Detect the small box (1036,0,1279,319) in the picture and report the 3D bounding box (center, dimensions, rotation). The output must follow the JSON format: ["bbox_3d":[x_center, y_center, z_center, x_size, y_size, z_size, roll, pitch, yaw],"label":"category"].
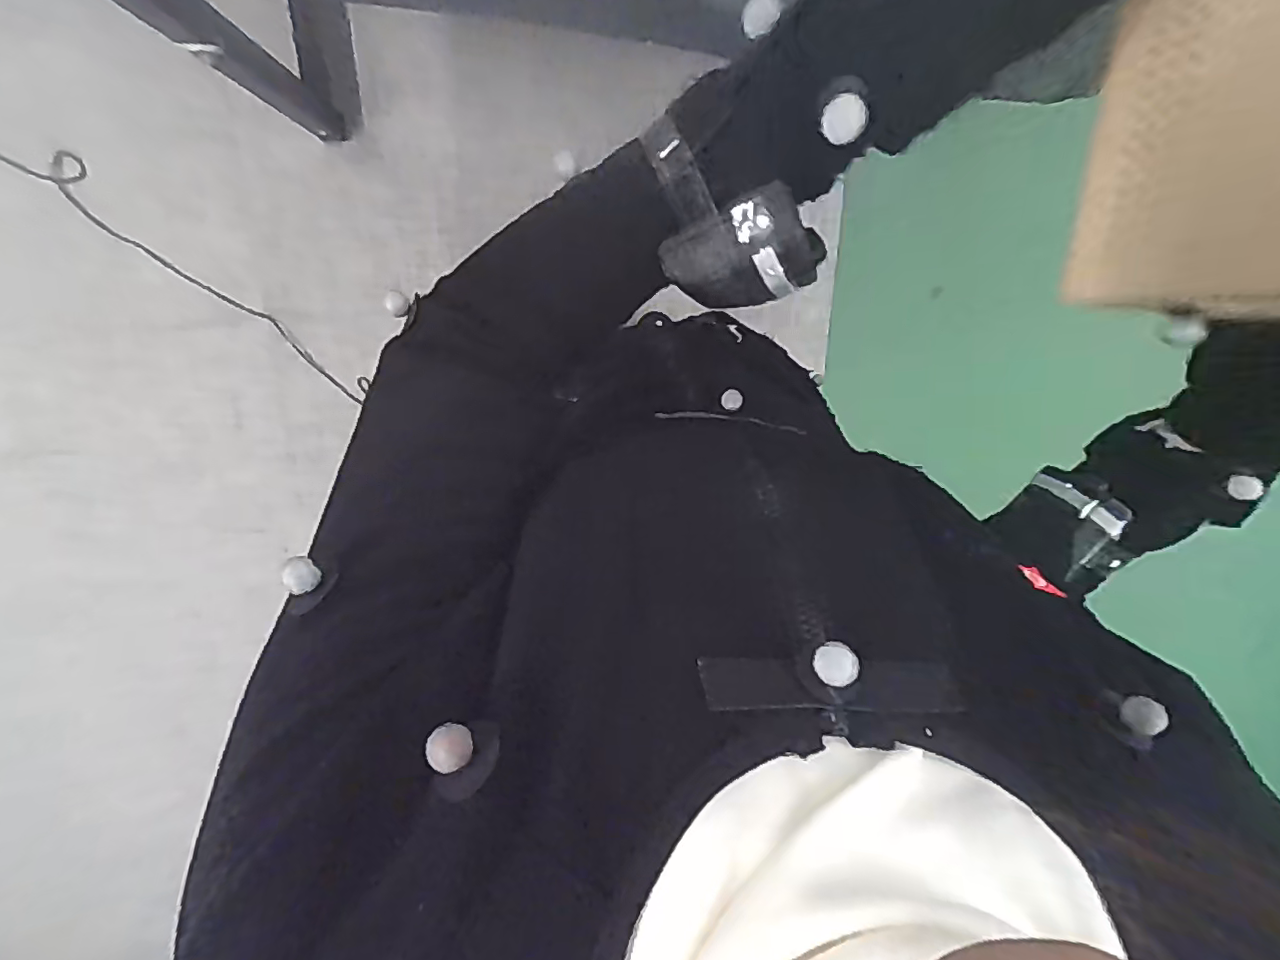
[{"bbox_3d":[0.274,-0.147,0.174,0.168,0.176,0.179,-3,106,-23],"label":"small box"}]
